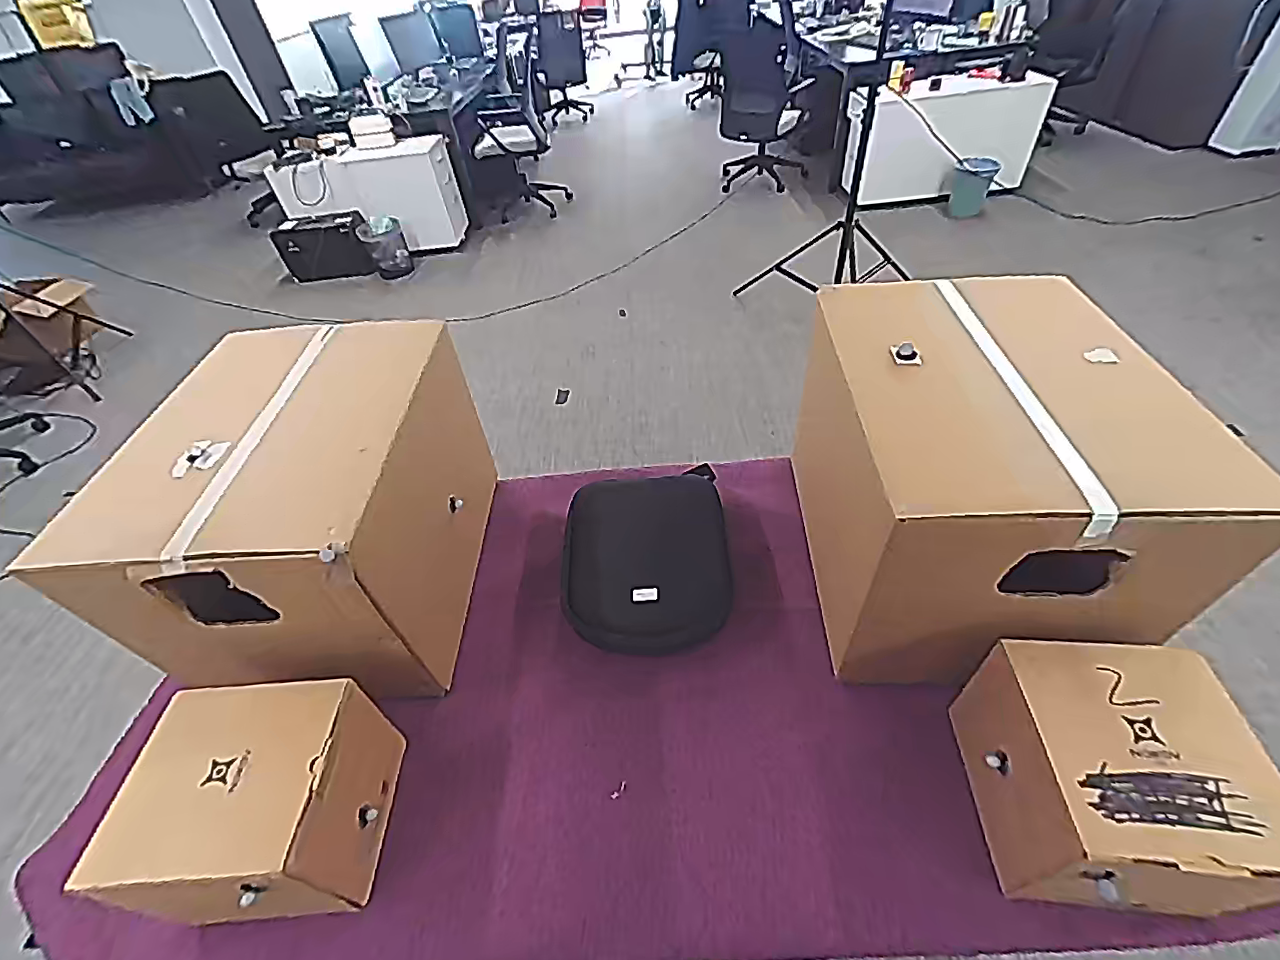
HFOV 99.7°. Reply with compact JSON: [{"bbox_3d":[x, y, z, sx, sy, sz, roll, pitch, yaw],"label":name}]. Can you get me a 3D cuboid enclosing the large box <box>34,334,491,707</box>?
[{"bbox_3d":[-0.414,0.048,0.739,0.320,0.320,0.408,-4,47,1],"label":"large box"}]
